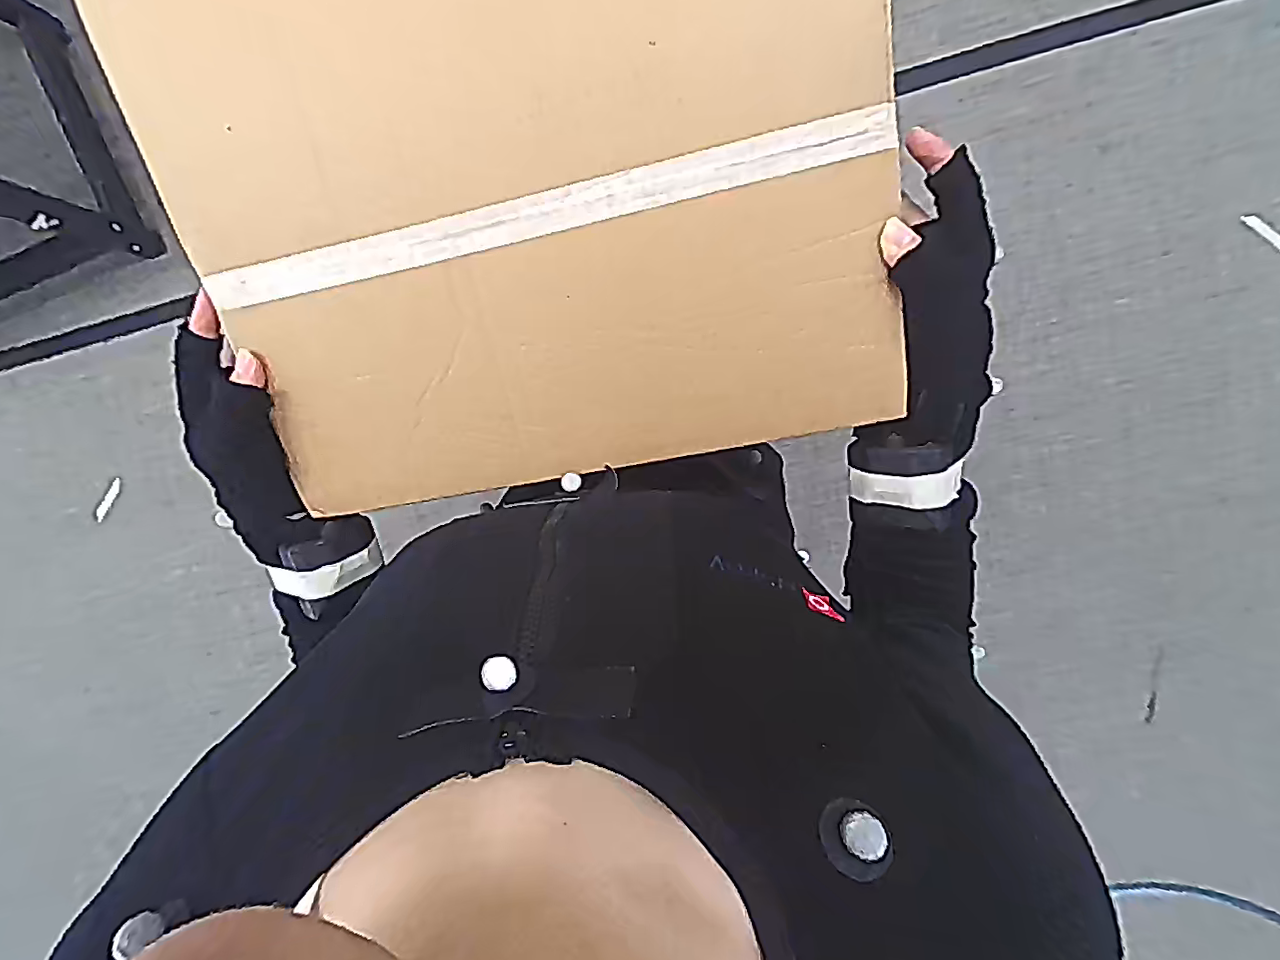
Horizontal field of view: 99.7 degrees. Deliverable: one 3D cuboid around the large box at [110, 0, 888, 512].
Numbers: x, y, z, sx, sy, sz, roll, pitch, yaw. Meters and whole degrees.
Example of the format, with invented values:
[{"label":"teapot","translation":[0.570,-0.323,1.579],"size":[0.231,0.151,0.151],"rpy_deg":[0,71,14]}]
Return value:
[{"label":"large box","translation":[-0.056,-0.203,0.455],"size":[0.408,0.320,0.320],"rpy_deg":[-9,109,8]}]
